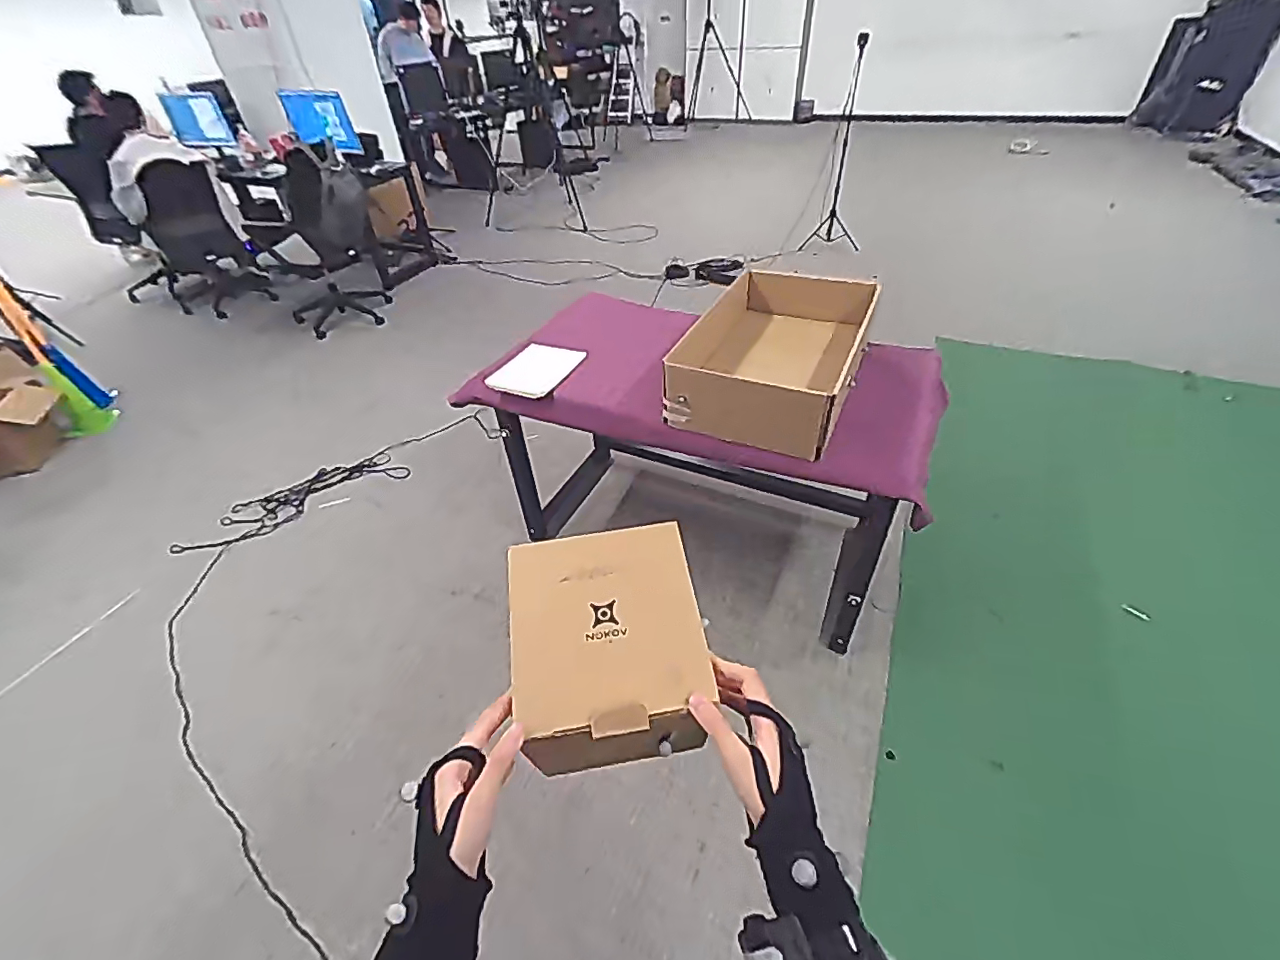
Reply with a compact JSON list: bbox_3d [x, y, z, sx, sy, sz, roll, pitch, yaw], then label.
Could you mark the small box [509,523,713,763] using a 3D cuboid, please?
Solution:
[{"bbox_3d":[-0.030,0.167,0.534,0.168,0.176,0.179,-7,53,-5],"label":"small box"}]
